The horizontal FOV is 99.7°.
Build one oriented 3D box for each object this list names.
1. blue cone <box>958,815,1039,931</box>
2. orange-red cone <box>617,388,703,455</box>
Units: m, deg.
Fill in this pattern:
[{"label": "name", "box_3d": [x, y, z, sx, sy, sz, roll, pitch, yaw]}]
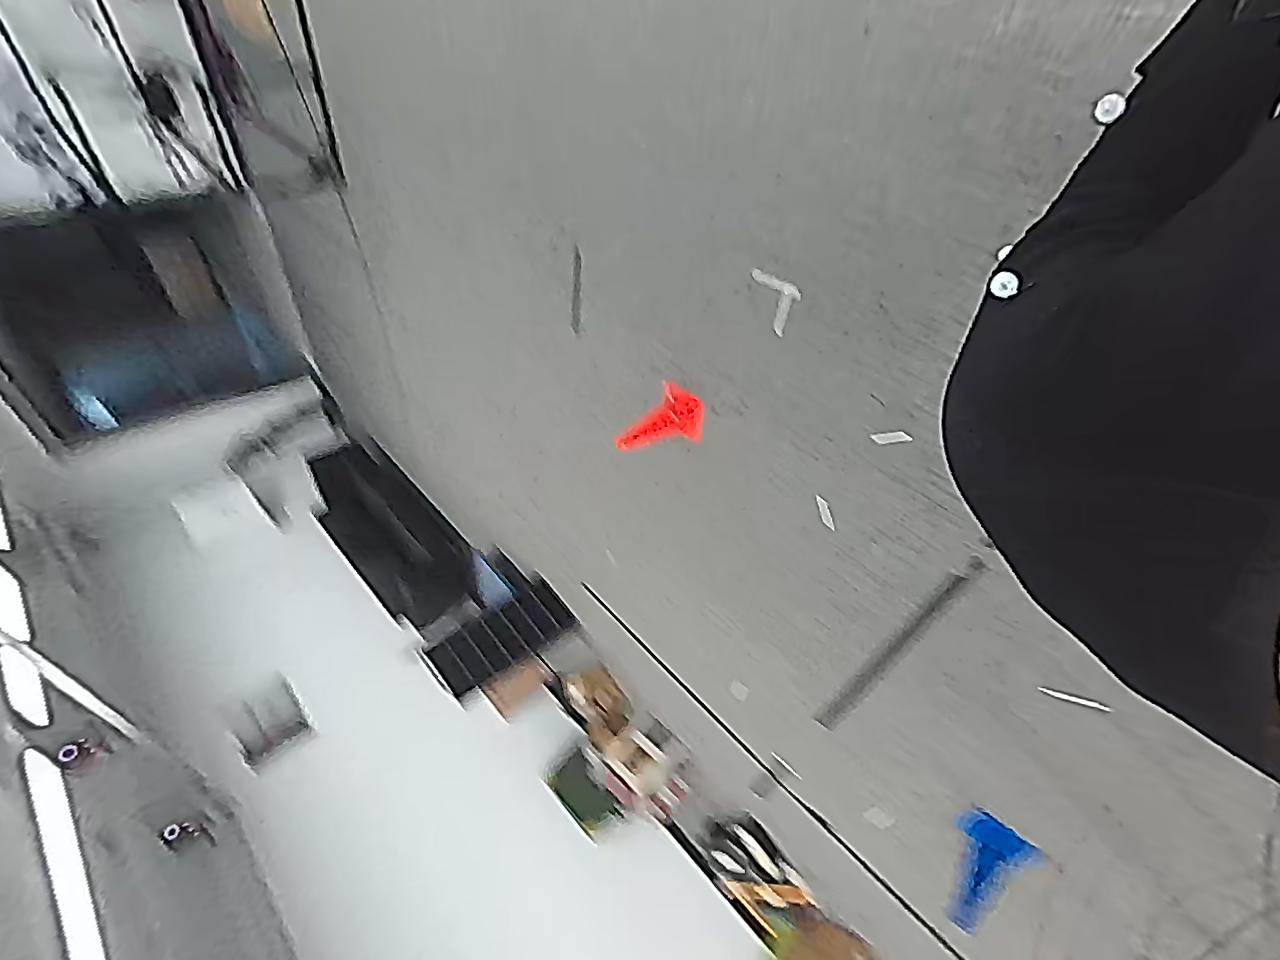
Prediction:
[{"label": "blue cone", "box_3d": [1.198, 1.385, 1.863, 0.192, 0.380, 0.193, 35, 140, 32]}, {"label": "orange-red cone", "box_3d": [0.056, -0.184, 2.118, 0.198, 0.360, 0.199, 36, 142, 31]}]
